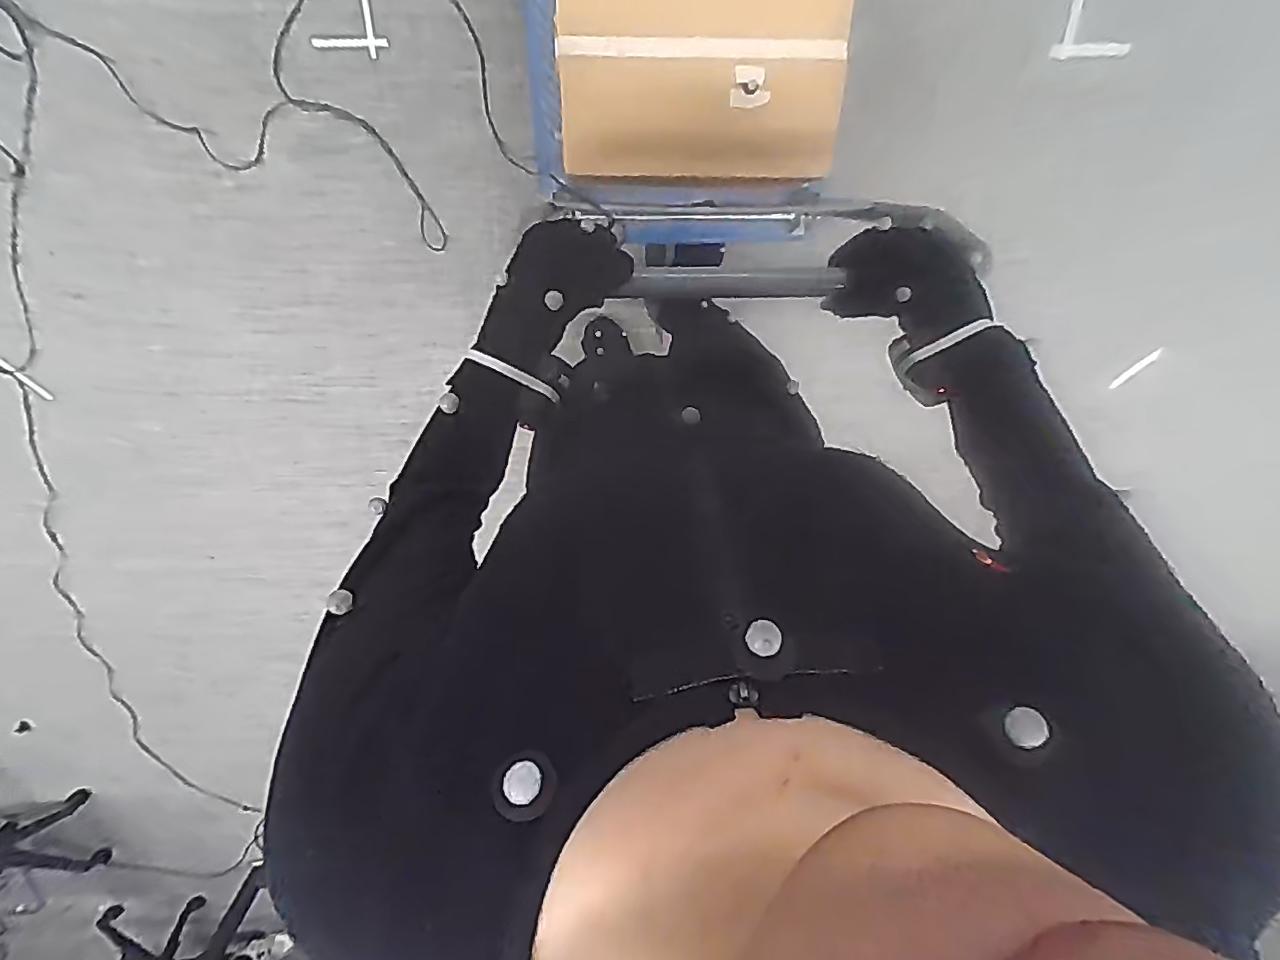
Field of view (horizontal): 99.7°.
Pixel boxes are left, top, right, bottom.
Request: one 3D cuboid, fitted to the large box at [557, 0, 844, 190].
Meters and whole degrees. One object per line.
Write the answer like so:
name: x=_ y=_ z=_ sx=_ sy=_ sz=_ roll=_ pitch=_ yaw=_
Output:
large box: x=0.076 y=-0.671 z=0.901 sx=0.408 sy=0.320 sz=0.320 roll=-2 pitch=115 yaw=-4
